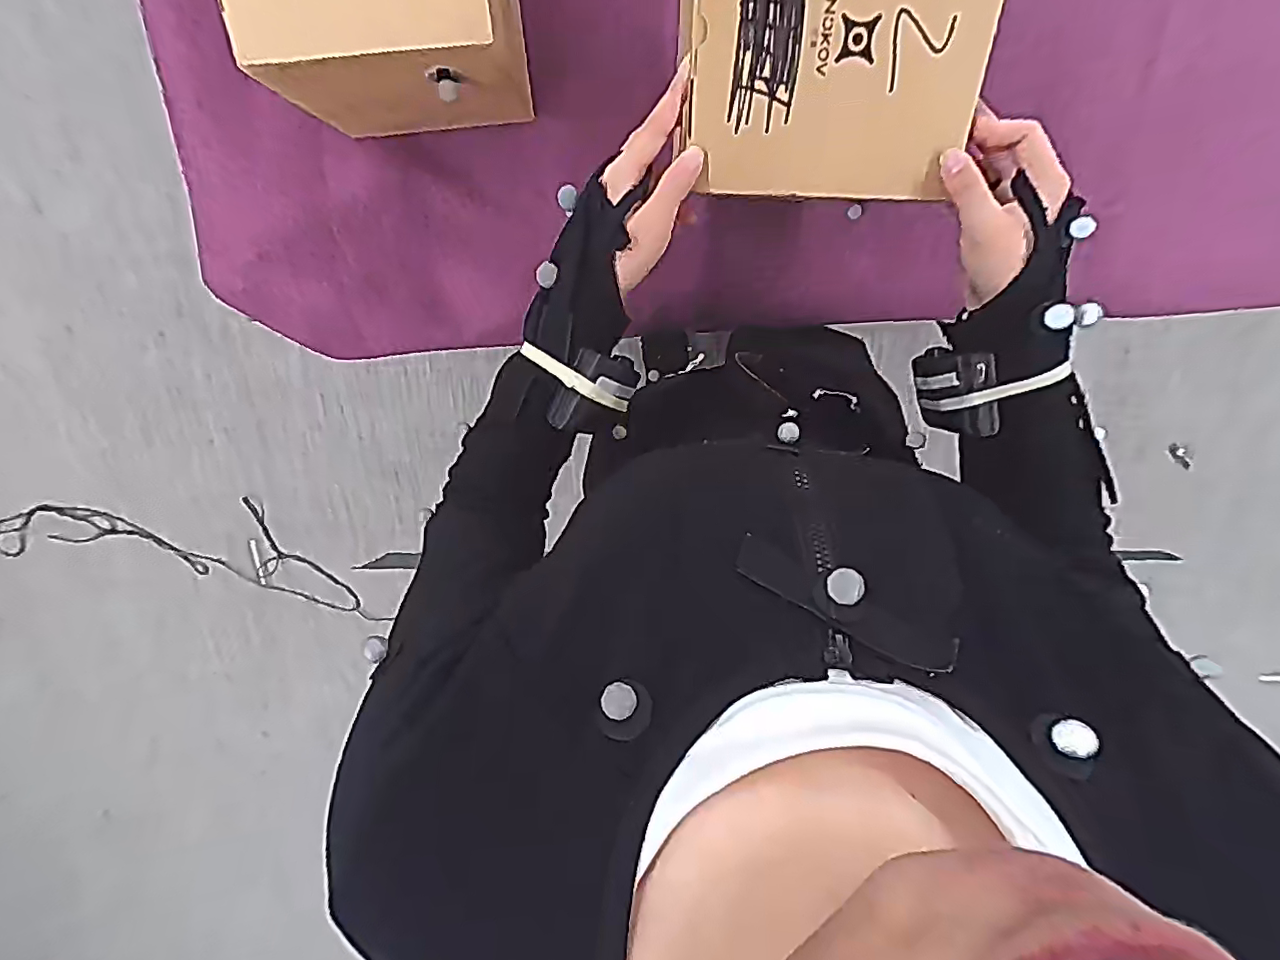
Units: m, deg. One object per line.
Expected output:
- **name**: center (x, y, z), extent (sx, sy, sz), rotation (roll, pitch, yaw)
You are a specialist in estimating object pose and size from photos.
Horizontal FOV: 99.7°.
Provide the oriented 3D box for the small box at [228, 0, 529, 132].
- **small box**: center (-0.187, -0.387, 0.413), extent (0.179, 0.176, 0.168), rotation (-5, 108, 0)
